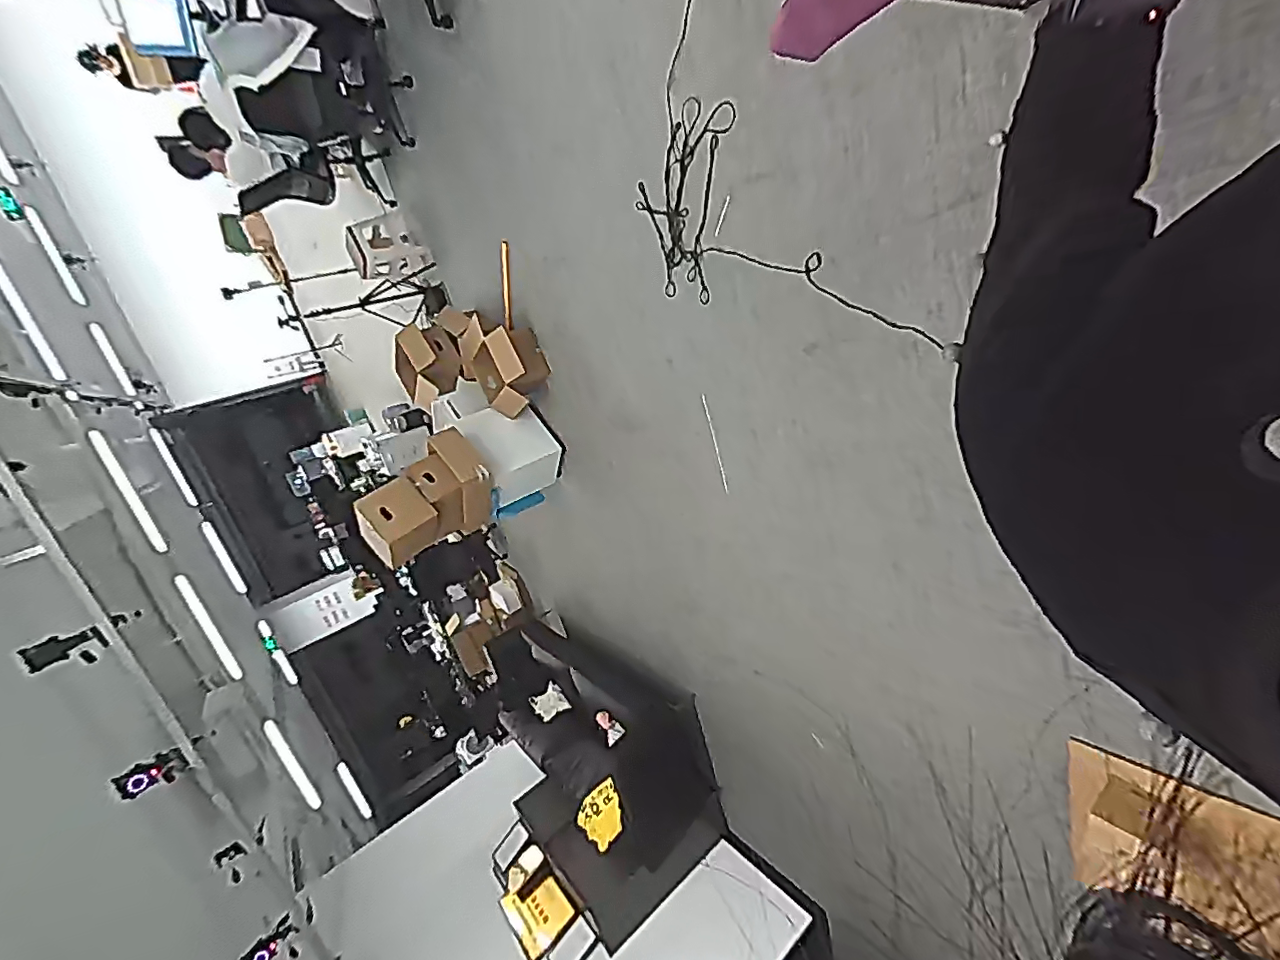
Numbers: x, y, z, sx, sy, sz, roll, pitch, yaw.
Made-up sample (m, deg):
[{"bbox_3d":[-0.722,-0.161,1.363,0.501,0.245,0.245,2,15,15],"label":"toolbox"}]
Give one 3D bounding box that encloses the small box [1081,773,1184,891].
[{"bbox_3d":[1.355,0.958,1.489,0.168,0.176,0.179,20,129,51],"label":"small box"}]
